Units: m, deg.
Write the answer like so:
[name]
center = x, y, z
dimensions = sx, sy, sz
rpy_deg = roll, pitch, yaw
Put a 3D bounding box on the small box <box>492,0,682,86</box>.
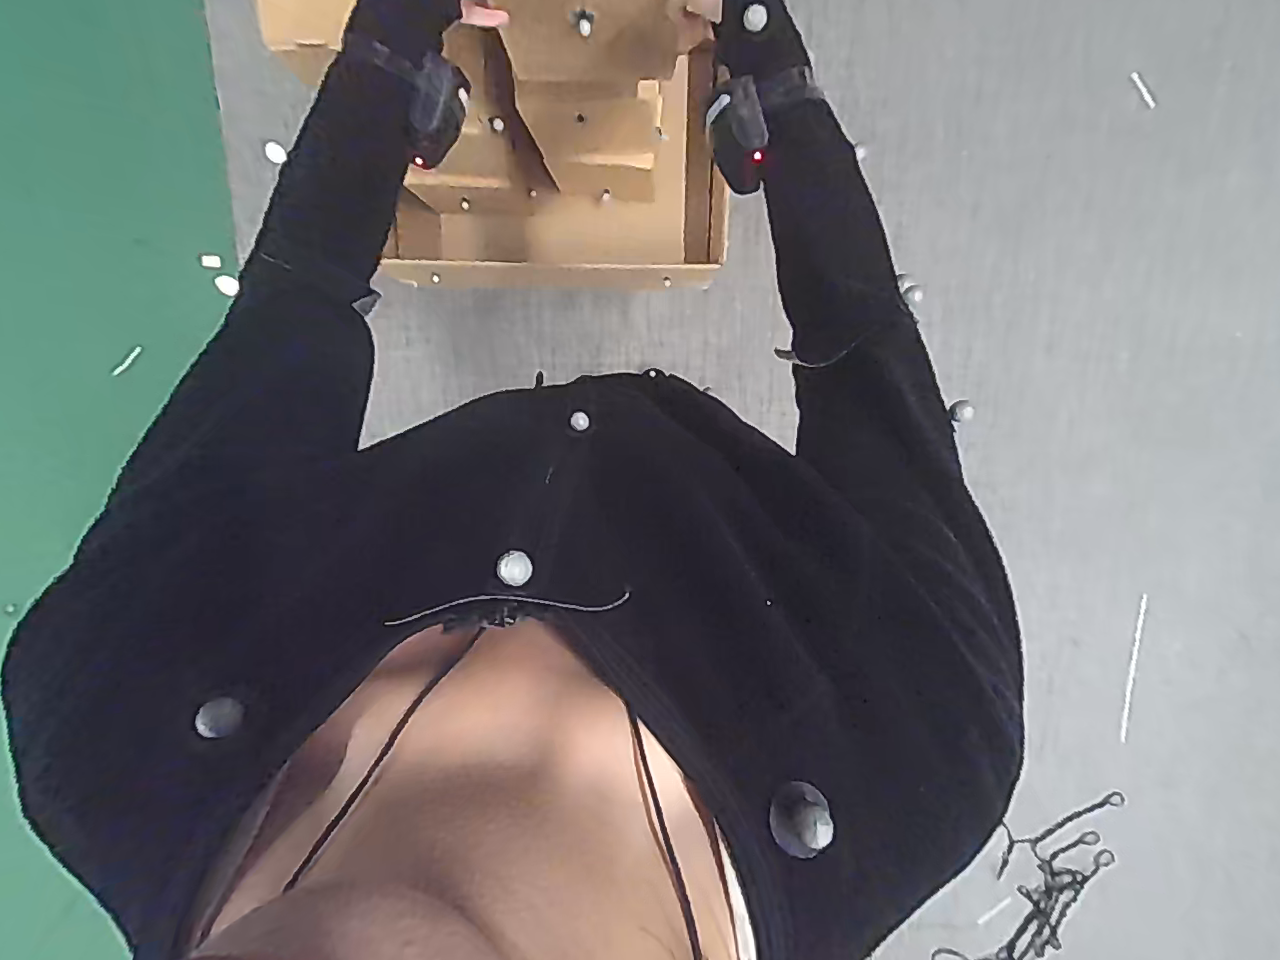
[small box]
center = -0.048, -0.498, 0.503
dimensions = 0.179, 0.176, 0.168
rpy_deg = 0, 104, -2
